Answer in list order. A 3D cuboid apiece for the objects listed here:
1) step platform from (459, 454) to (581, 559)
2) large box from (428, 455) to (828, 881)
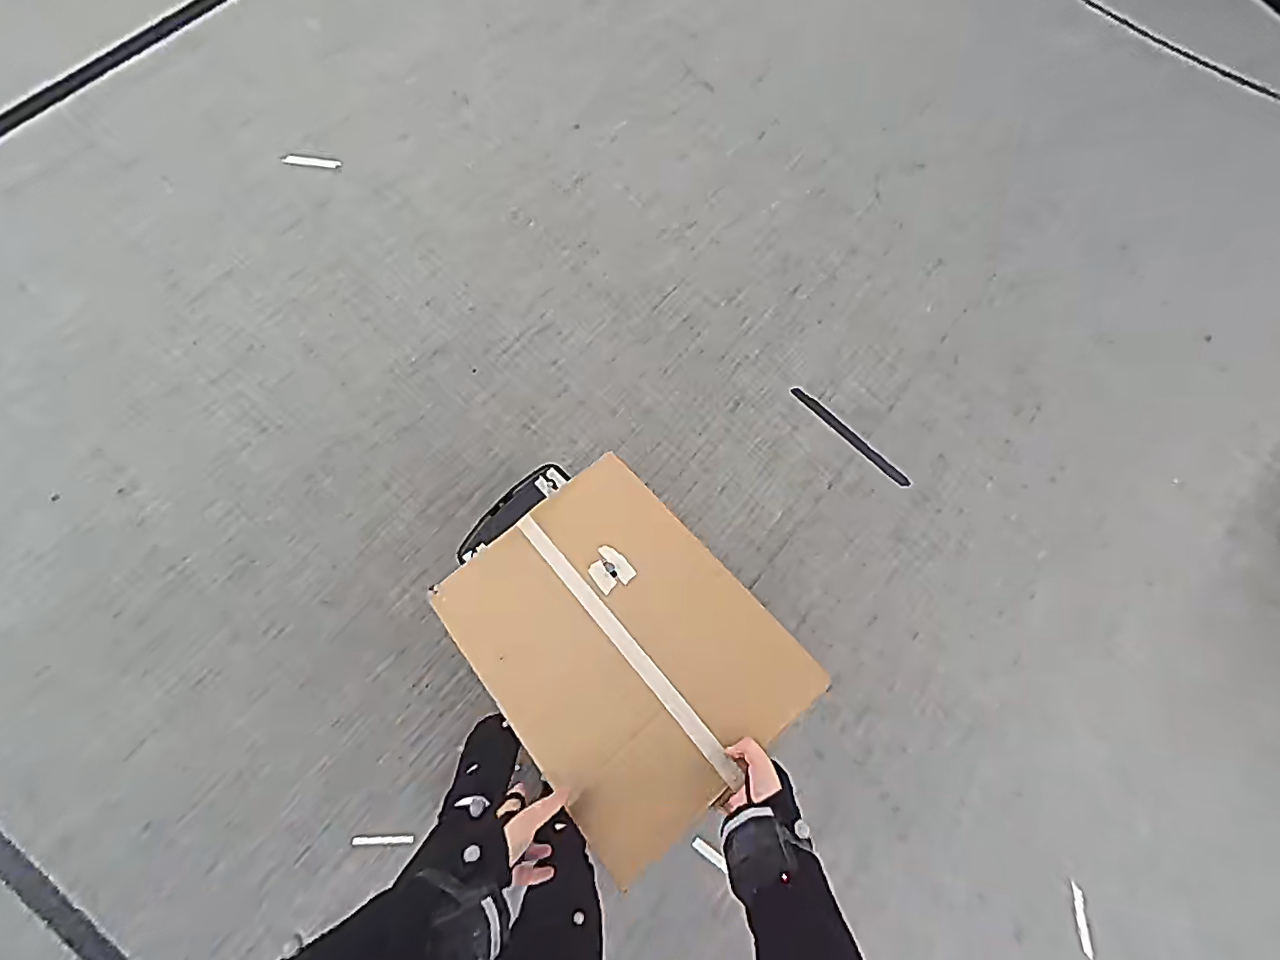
[{"bbox_3d":[-0.069,0.272,1.148,0.286,0.204,0.684,-41,86,-13],"label":"step platform"},{"bbox_3d":[-0.015,0.250,0.780,0.320,0.320,0.408,-39,67,-15],"label":"large box"}]
